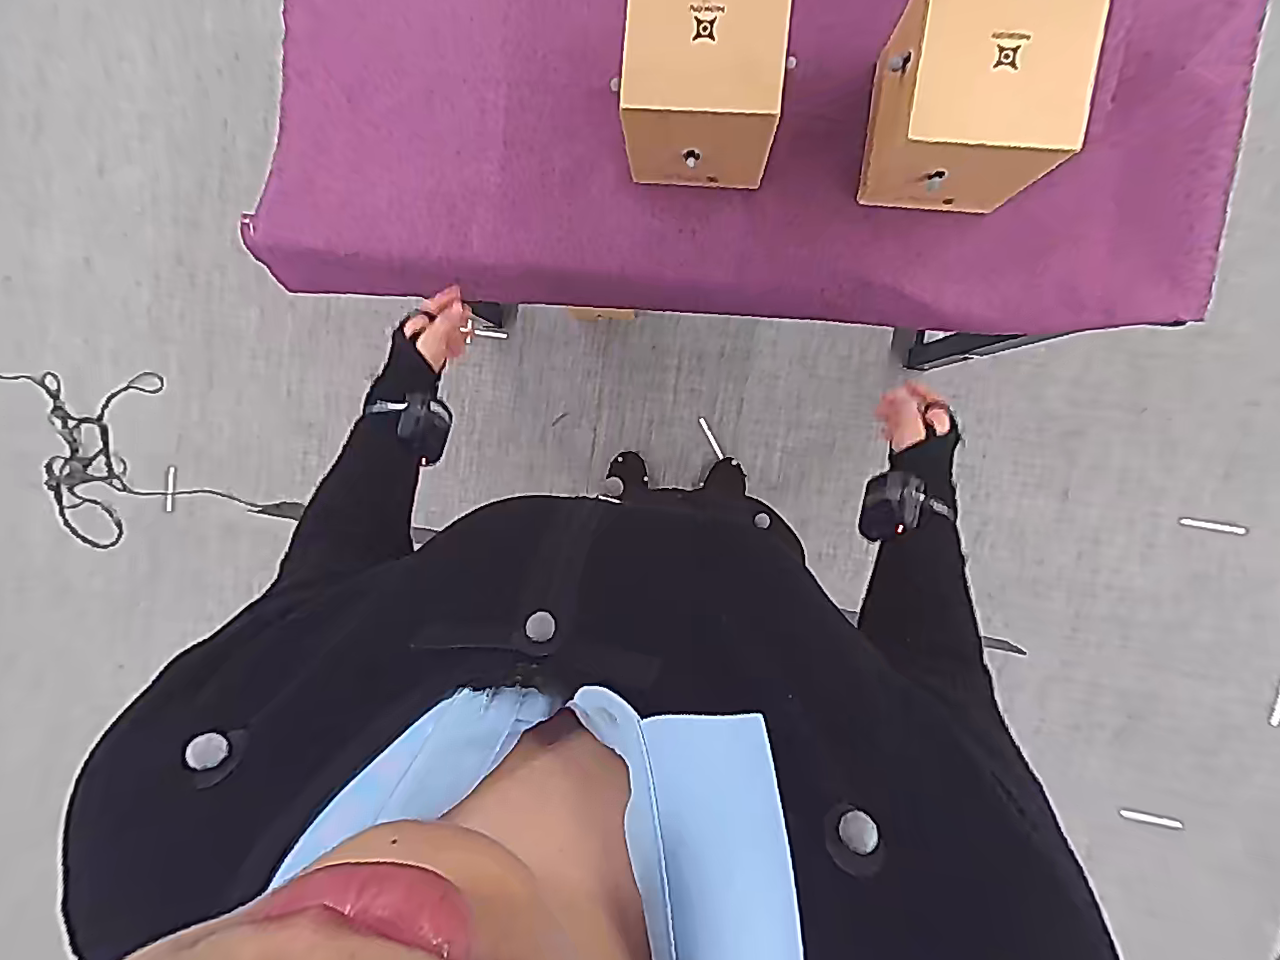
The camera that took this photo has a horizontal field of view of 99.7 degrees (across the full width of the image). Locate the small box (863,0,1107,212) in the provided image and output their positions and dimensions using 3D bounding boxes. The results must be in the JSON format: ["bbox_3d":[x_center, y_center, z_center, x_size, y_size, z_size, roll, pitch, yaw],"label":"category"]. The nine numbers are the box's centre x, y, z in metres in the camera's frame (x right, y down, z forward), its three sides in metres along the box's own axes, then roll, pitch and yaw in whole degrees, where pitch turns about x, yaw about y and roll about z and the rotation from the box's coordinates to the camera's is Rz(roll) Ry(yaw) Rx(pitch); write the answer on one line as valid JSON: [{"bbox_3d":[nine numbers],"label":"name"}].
[{"bbox_3d":[0.364,-0.422,0.604,0.168,0.176,0.179,7,96,5],"label":"small box"}]

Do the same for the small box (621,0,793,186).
[{"bbox_3d":[0.076,-0.467,0.625,0.168,0.176,0.179,6,94,4],"label":"small box"}]
